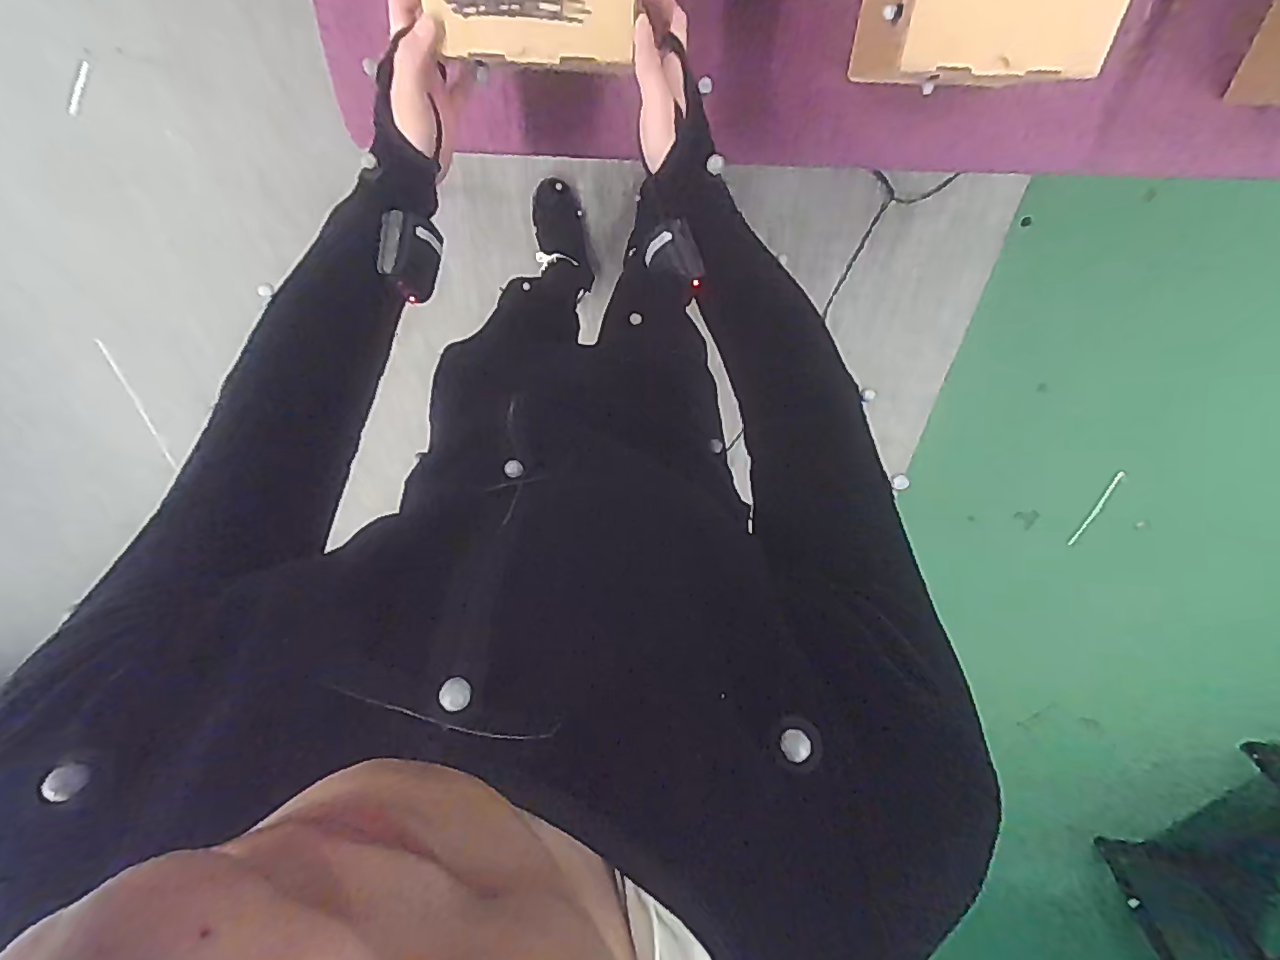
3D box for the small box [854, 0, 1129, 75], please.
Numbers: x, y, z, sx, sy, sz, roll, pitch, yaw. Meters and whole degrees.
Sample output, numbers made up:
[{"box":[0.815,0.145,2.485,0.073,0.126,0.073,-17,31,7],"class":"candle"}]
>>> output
[{"box":[0.298,-0.455,0.456,0.168,0.176,0.179,3,127,2],"class":"small box"}]
